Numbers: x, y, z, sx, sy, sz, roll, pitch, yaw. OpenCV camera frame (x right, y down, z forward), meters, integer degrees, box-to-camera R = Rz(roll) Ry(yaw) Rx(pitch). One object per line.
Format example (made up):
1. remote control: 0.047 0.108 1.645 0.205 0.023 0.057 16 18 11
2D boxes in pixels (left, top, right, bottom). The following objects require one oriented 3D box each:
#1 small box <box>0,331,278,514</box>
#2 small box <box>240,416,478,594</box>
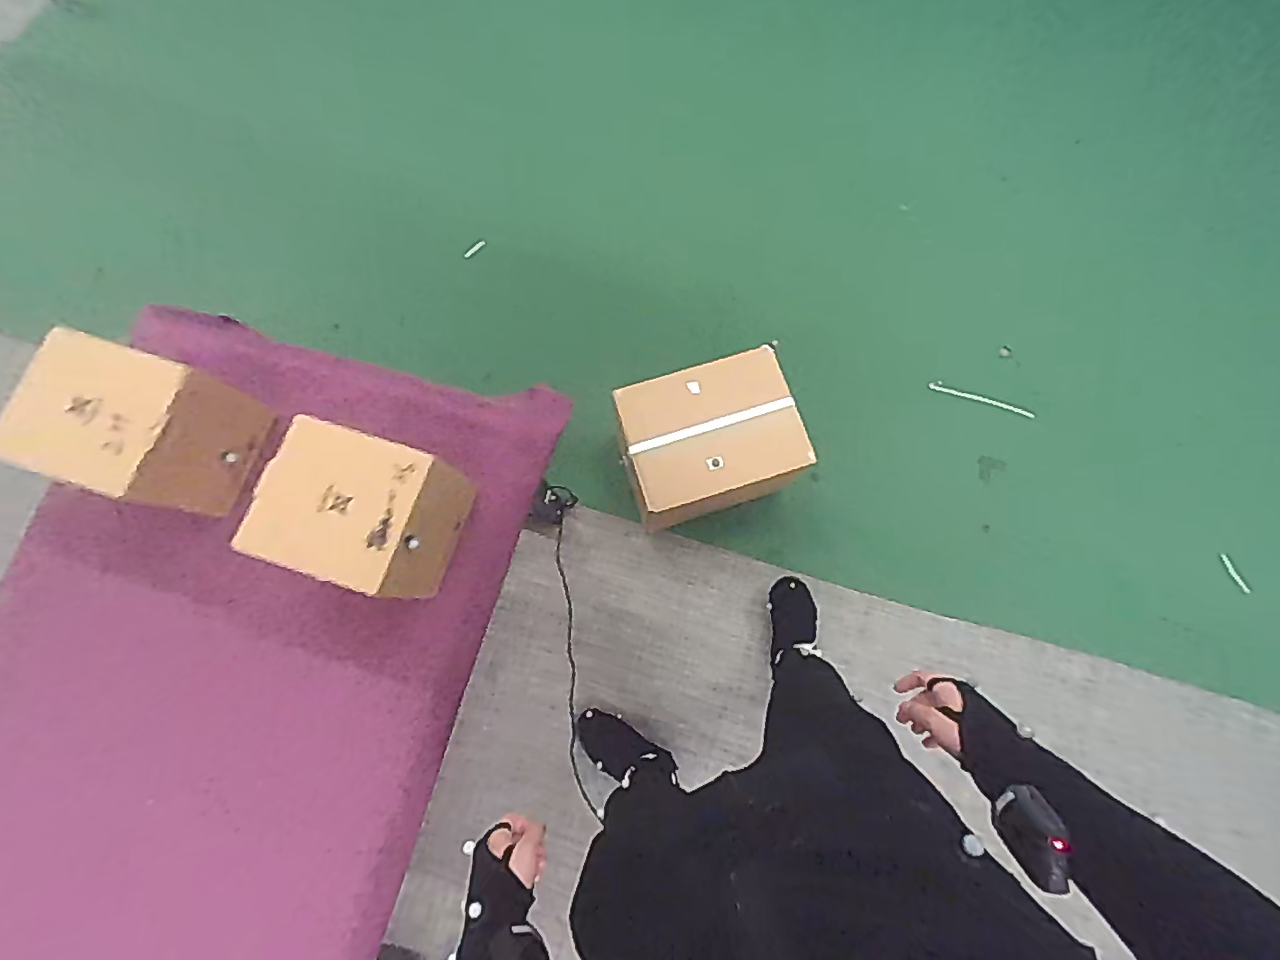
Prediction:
1. small box: -0.631 -0.062 0.702 0.179 0.176 0.168 18 79 2
2. small box: -0.335 0.042 0.683 0.179 0.176 0.168 17 78 6
